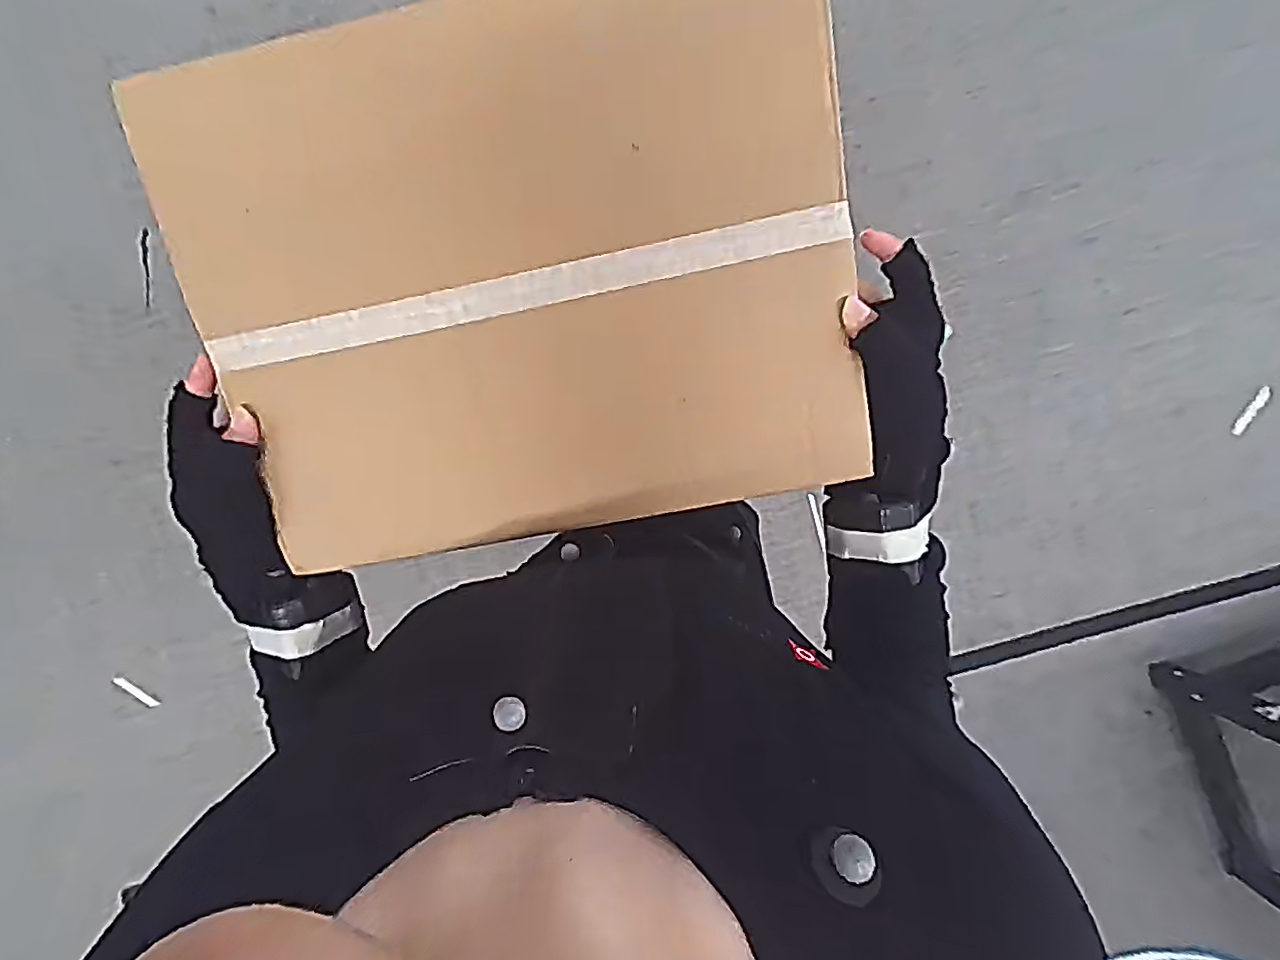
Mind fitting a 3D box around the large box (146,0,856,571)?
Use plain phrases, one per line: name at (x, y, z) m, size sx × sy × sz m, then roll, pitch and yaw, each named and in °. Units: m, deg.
large box at (-0.071, -0.152, 0.489) m, size 0.408 × 0.320 × 0.320 m, roll -10°, pitch 103°, yaw 5°
